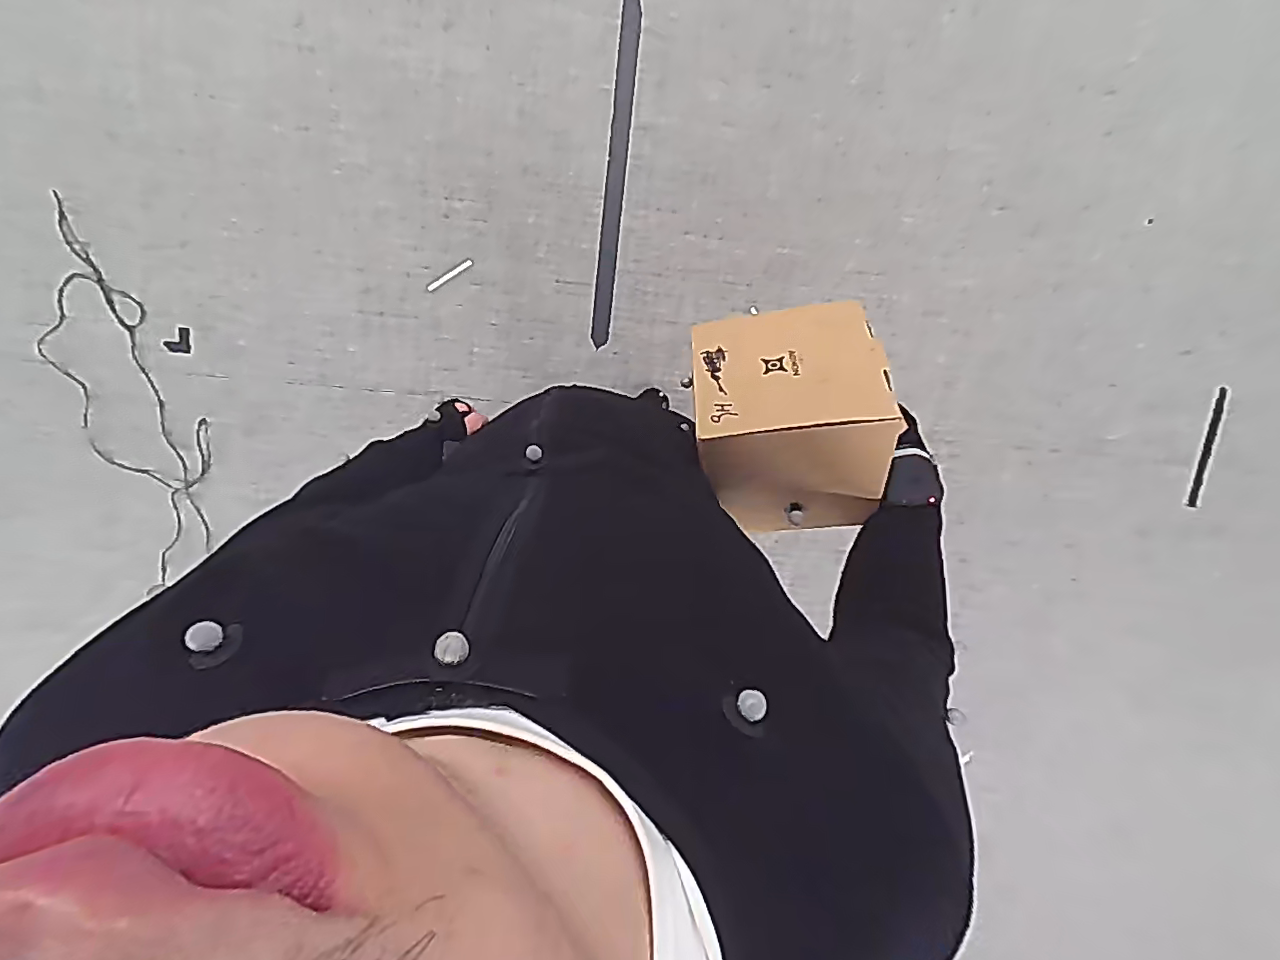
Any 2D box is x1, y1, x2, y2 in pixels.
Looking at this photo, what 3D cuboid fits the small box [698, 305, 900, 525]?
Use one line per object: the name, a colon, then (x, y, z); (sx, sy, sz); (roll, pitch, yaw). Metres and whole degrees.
small box: (0.160, -0.065, 0.597); (0.179, 0.168, 0.176); (-5, 141, 9)
